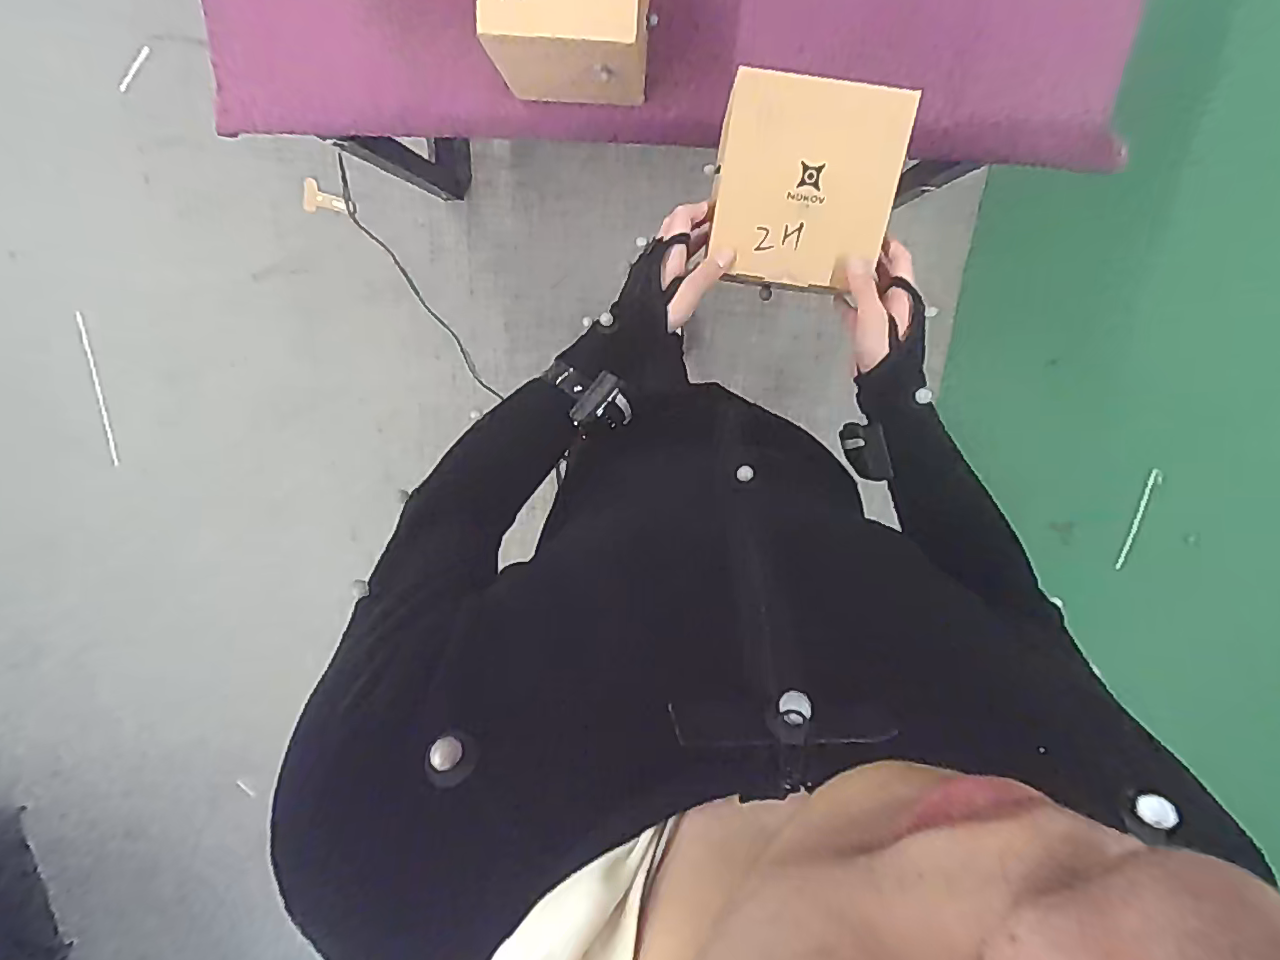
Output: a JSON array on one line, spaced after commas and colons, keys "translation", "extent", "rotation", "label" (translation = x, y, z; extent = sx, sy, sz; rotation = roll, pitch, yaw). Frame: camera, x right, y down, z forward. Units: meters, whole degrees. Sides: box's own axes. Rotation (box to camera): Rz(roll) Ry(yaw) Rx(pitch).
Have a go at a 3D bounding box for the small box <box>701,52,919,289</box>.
[{"translation": [0.161, -0.311, 0.582], "extent": [0.168, 0.176, 0.179], "rotation": [9, 109, 1], "label": "small box"}]
